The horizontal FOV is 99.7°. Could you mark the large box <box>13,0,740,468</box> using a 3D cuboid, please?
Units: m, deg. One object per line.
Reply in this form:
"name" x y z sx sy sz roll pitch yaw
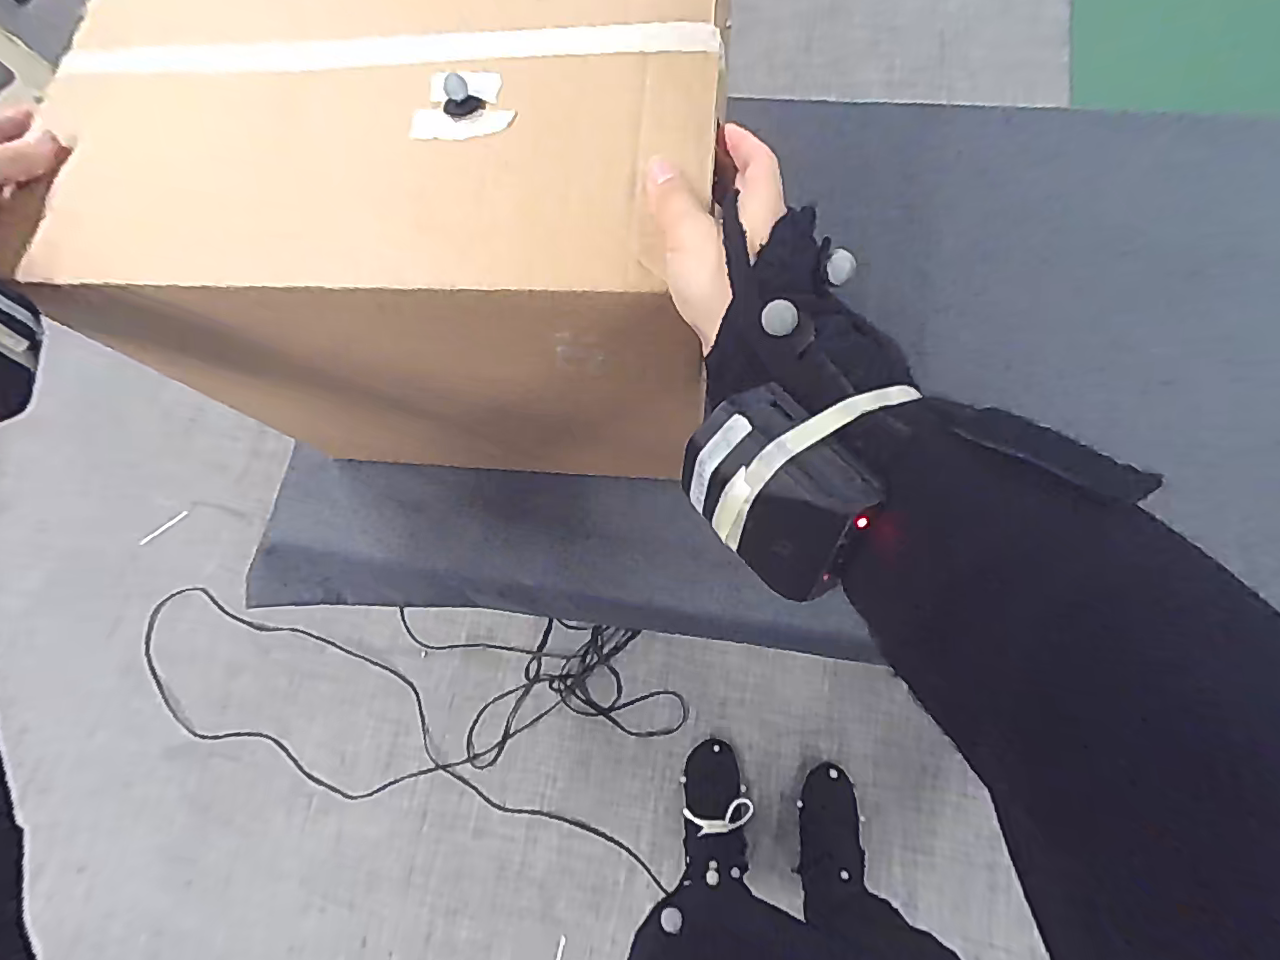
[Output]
"large box" -0.133 -0.205 0.467 0.408 0.320 0.320 3 75 5
